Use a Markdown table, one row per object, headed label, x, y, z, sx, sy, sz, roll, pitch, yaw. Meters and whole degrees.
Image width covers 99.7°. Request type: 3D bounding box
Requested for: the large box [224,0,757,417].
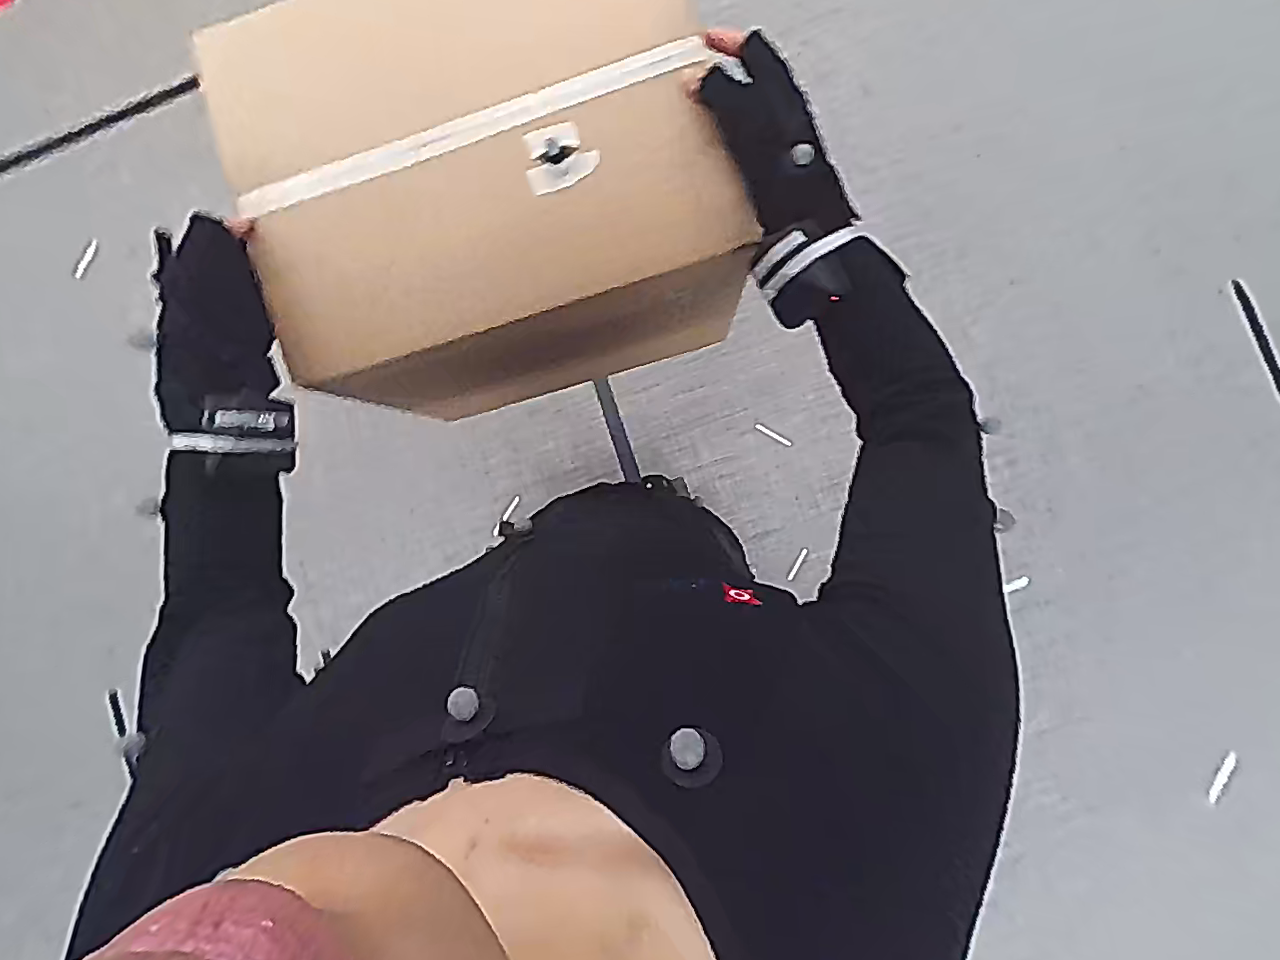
| label | x | y | z | sx | sy | sz | roll | pitch | yaw |
| --- | --- | --- | --- | --- | --- | --- | --- | --- | --- |
| large box | -0.126 | -0.289 | 0.604 | 0.408 | 0.320 | 0.320 | -17 | 90 | 4 |
